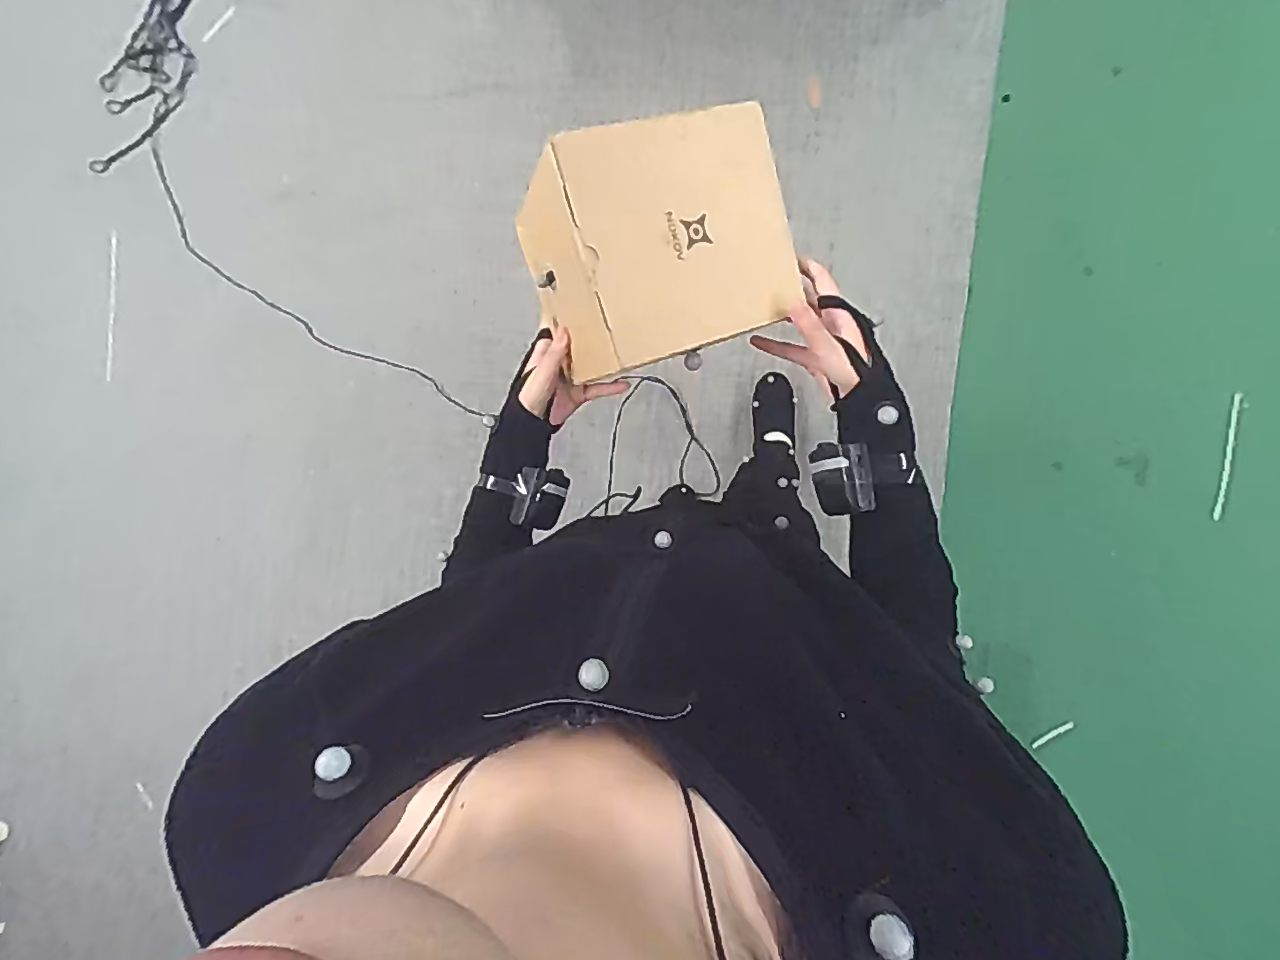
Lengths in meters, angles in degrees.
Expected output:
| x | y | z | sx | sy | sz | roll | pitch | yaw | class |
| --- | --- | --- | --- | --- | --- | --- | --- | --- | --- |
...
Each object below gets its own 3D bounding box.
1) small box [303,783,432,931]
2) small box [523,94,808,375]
| x | y | z | sx | sy | sz | roll | pitch | yaw | class |
| --- | --- | --- | --- | --- | --- | --- | --- | --- | --- |
| -0.600 | 0.832 | 1.211 | 0.168 | 0.176 | 0.179 | 25 | 96 | 5 | small box |
| 0.013 | -0.199 | 0.480 | 0.179 | 0.176 | 0.168 | -22 | 103 | -16 | small box |
